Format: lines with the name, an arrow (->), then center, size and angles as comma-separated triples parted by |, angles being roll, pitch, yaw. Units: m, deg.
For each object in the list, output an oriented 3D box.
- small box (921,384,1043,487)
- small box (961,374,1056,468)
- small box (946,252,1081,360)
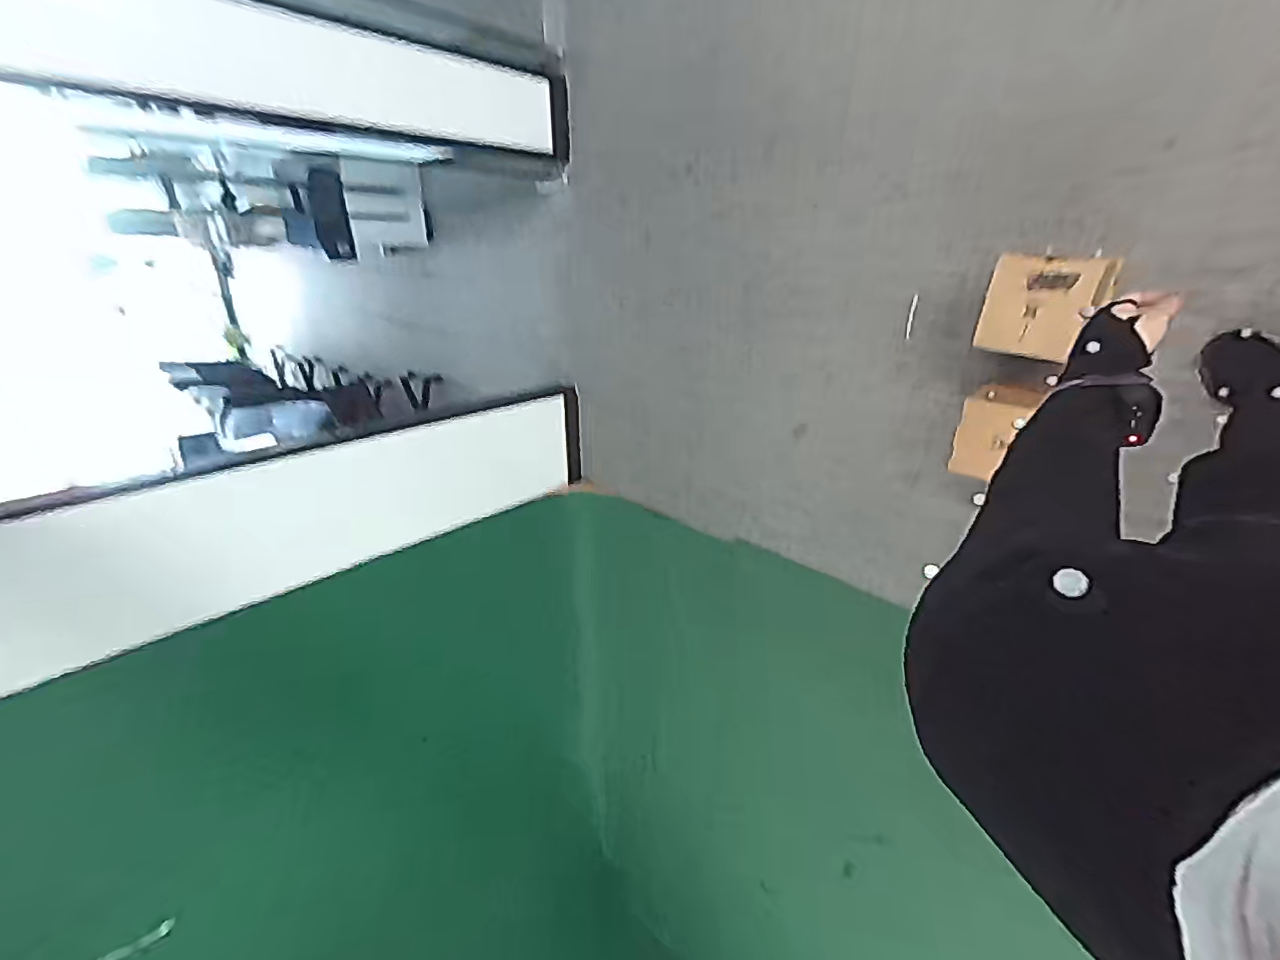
small box -> 0.754, -0.106, 1.190 | 0.179, 0.176, 0.168 | 22, 122, 38
small box -> 0.863, -0.151, 1.300 | 0.179, 0.176, 0.168 | 25, 122, 36
small box -> 0.750, -0.355, 1.084 | 0.168, 0.176, 0.179 | 26, 125, 37
